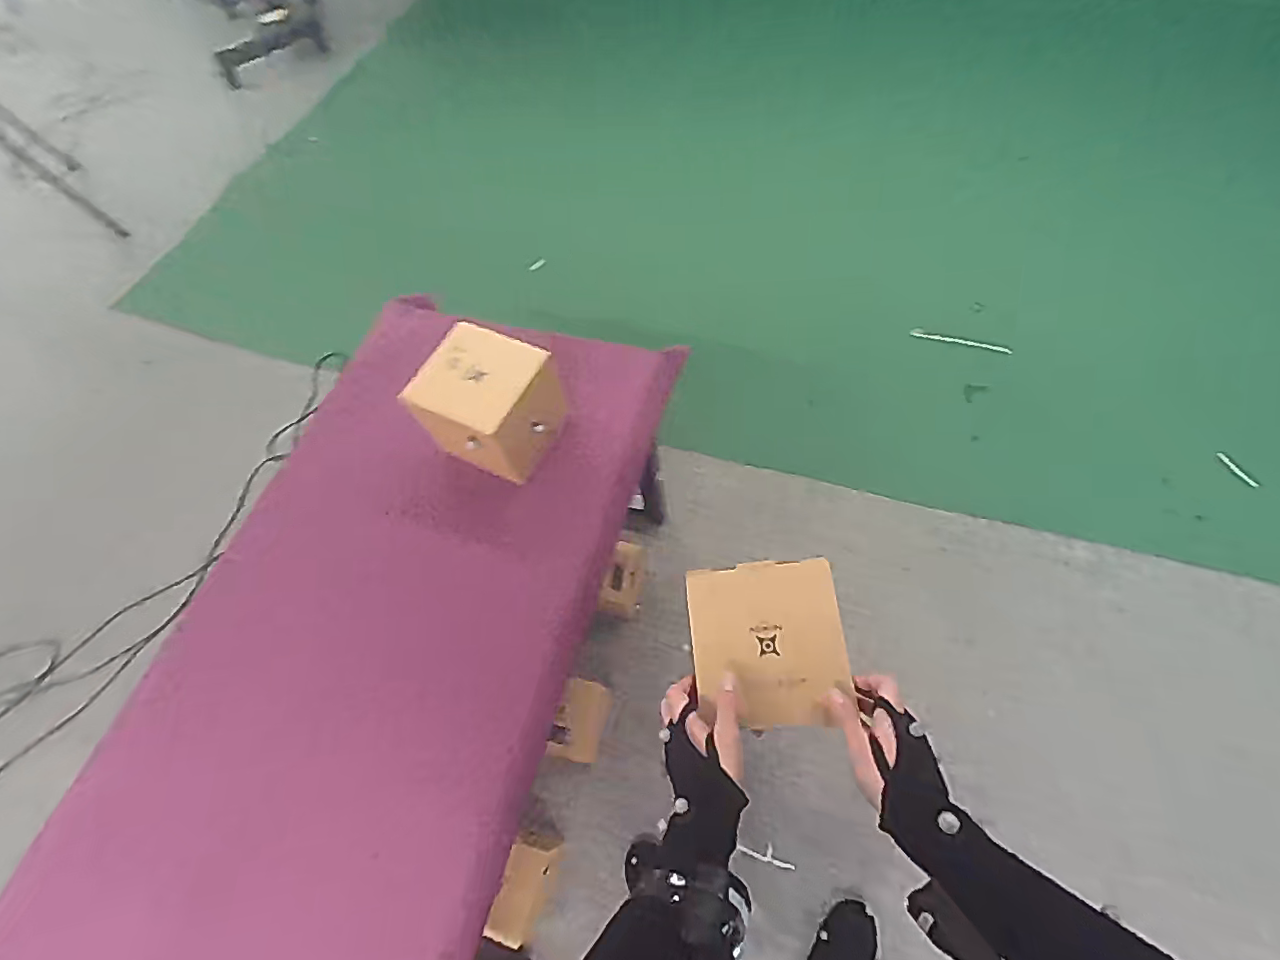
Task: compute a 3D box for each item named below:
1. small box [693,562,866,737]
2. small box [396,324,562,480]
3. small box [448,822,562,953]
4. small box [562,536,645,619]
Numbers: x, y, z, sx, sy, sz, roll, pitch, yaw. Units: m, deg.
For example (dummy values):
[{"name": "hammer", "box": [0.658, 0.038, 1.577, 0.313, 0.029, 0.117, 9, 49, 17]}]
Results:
[{"name": "small box", "box": [0.156, 0.208, 0.658, 0.168, 0.176, 0.179, -7, 69, 8]}, {"name": "small box", "box": [-0.251, -0.120, 0.895, 0.179, 0.176, 0.168, 22, 68, 17]}, {"name": "small box", "box": [-0.288, 0.889, 1.201, 0.168, 0.176, 0.179, 12, 64, 13]}, {"name": "small box", "box": [-0.092, 0.274, 1.493, 0.179, 0.176, 0.168, 10, 63, 12]}]
